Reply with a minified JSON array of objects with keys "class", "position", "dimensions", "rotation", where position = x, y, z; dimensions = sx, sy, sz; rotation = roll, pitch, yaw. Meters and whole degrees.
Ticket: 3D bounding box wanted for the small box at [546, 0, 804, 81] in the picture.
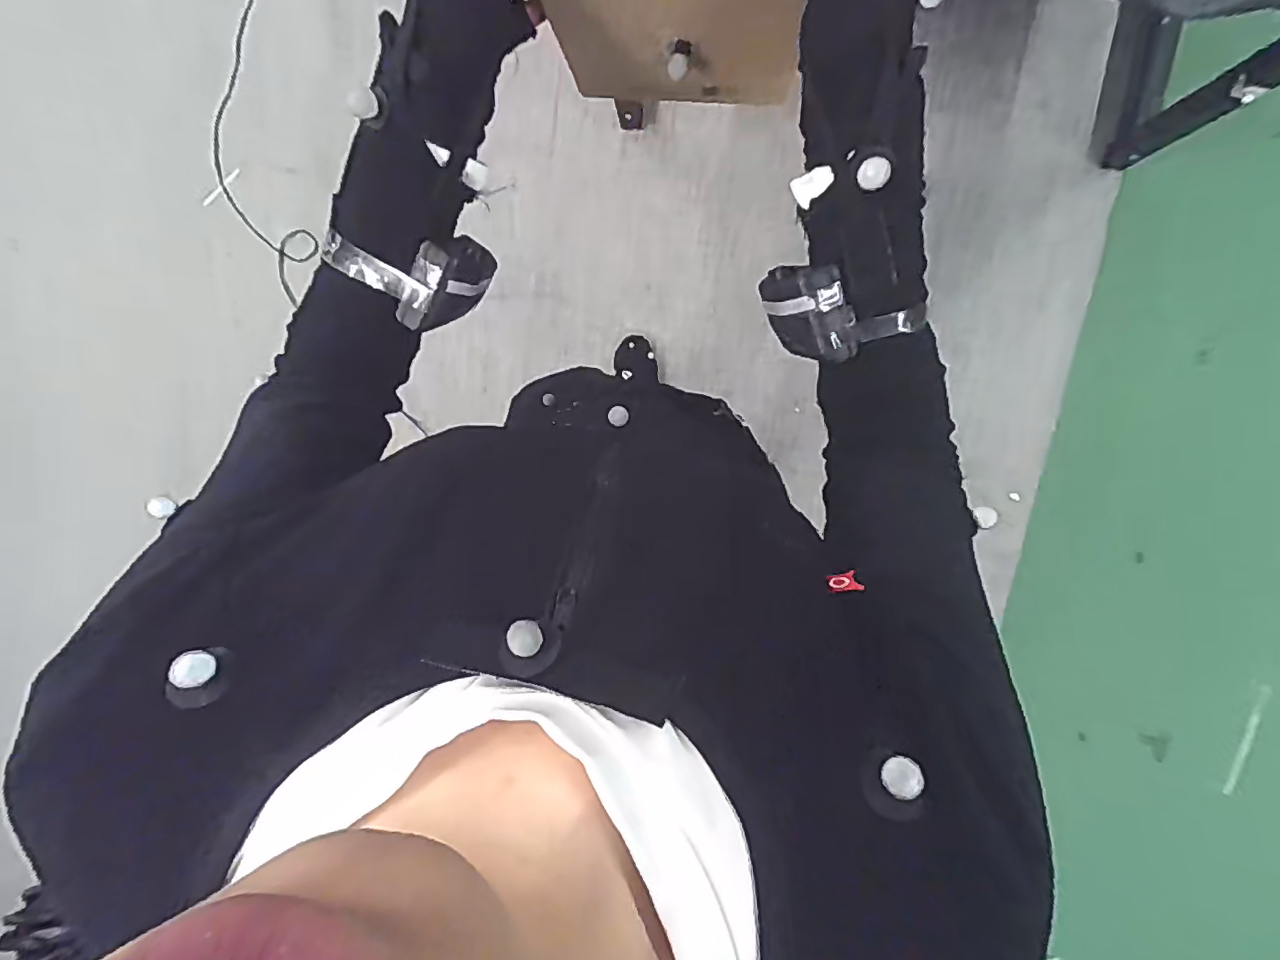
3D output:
[{"class":"small box","position":[0.028,-0.377,0.330],"dimensions":[0.168,0.176,0.179],"rotation":[5,105,5]}]
